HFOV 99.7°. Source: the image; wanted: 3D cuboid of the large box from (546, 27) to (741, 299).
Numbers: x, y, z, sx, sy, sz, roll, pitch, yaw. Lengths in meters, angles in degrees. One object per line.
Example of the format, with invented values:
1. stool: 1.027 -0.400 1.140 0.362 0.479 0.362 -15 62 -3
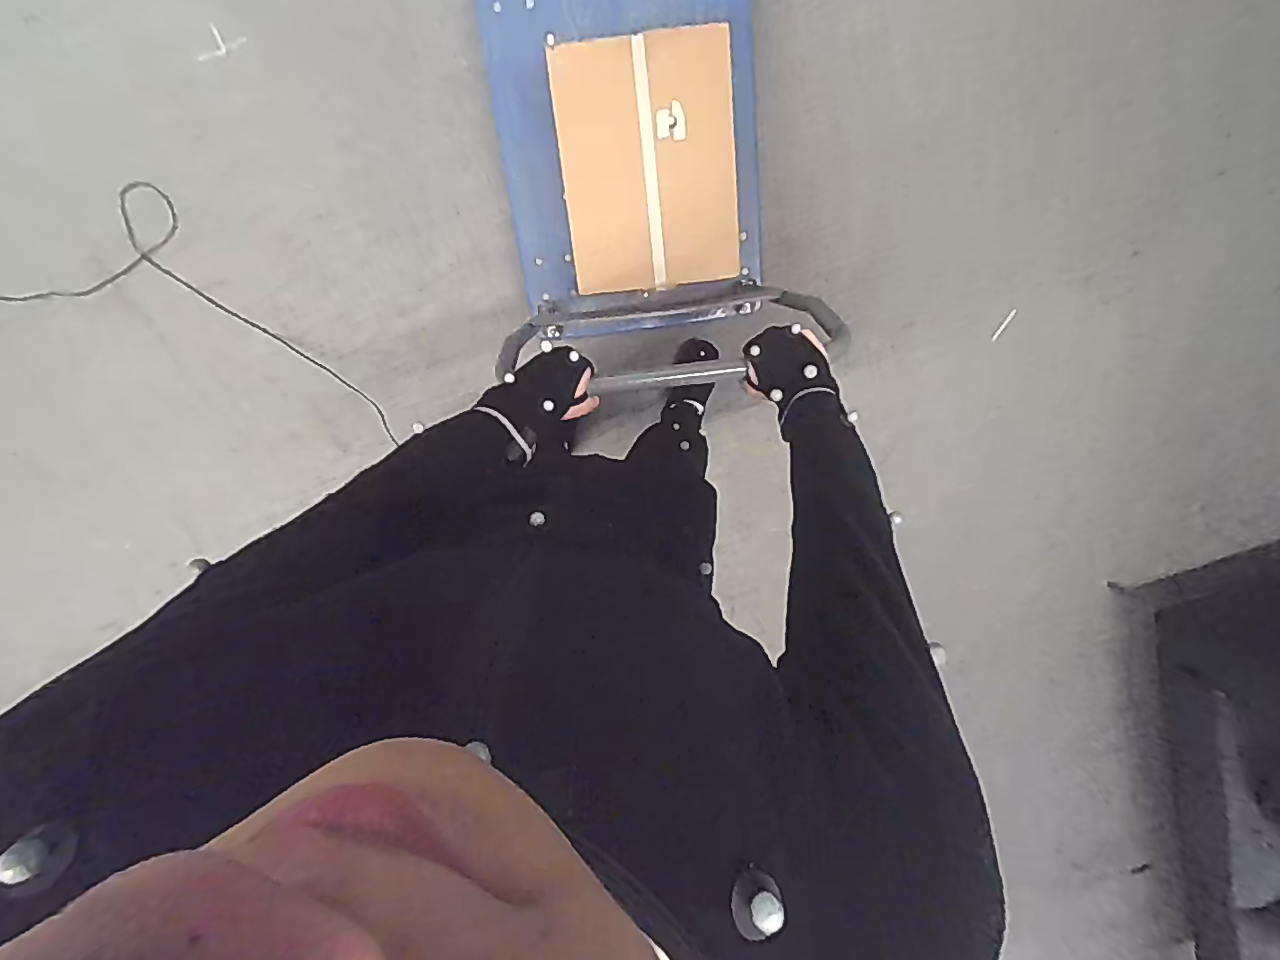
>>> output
1. large box: 0.015 -0.604 1.116 0.320 0.320 0.408 -7 108 0
